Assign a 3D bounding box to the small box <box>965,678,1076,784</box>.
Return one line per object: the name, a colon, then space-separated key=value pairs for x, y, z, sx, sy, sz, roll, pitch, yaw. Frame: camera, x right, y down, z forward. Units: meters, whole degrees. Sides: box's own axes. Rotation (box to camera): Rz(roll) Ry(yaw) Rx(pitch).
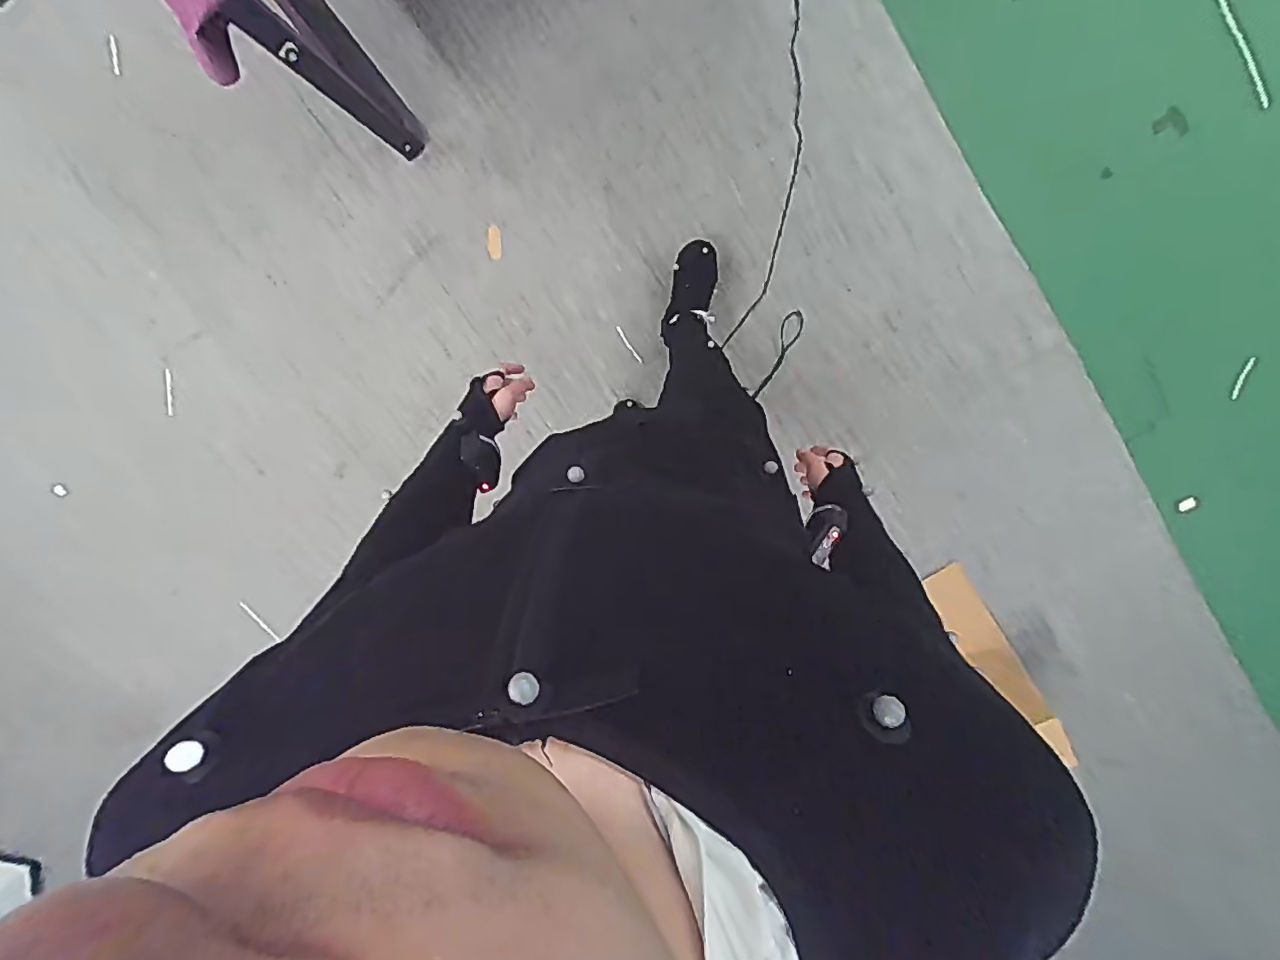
small box: x=1.033 y=0.686 z=1.489 sx=0.179 sy=0.176 sz=0.168 roll=-27 pitch=101 yaw=8
